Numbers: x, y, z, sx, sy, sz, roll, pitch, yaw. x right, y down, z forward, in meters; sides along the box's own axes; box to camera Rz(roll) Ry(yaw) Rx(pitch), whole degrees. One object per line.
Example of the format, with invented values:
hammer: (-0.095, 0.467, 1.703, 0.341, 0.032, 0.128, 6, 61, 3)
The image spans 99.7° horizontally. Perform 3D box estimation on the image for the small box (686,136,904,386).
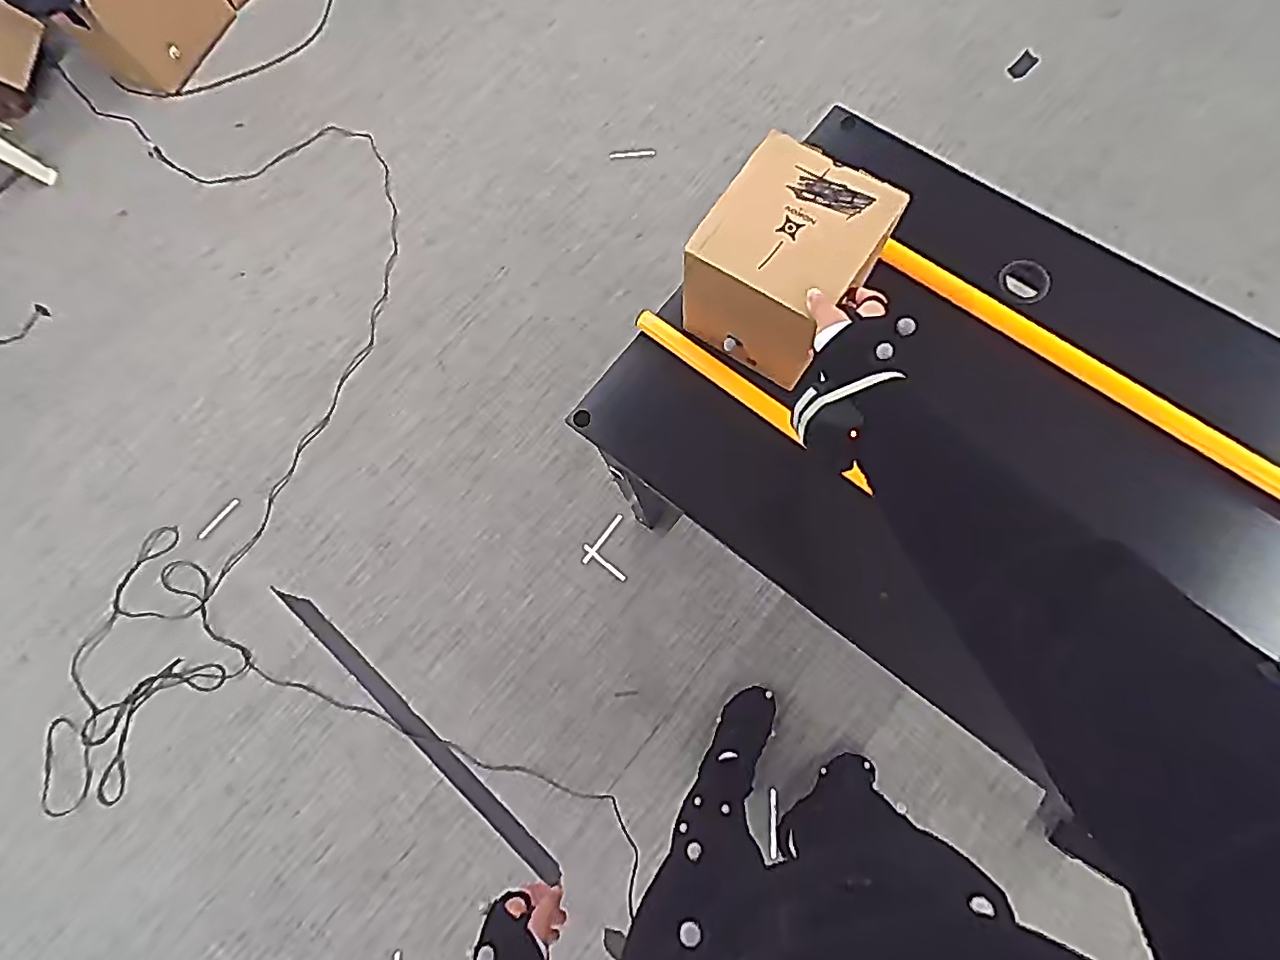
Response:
small box: (0.166, -0.245, 0.638, 0.168, 0.176, 0.179, 34, 82, 12)
